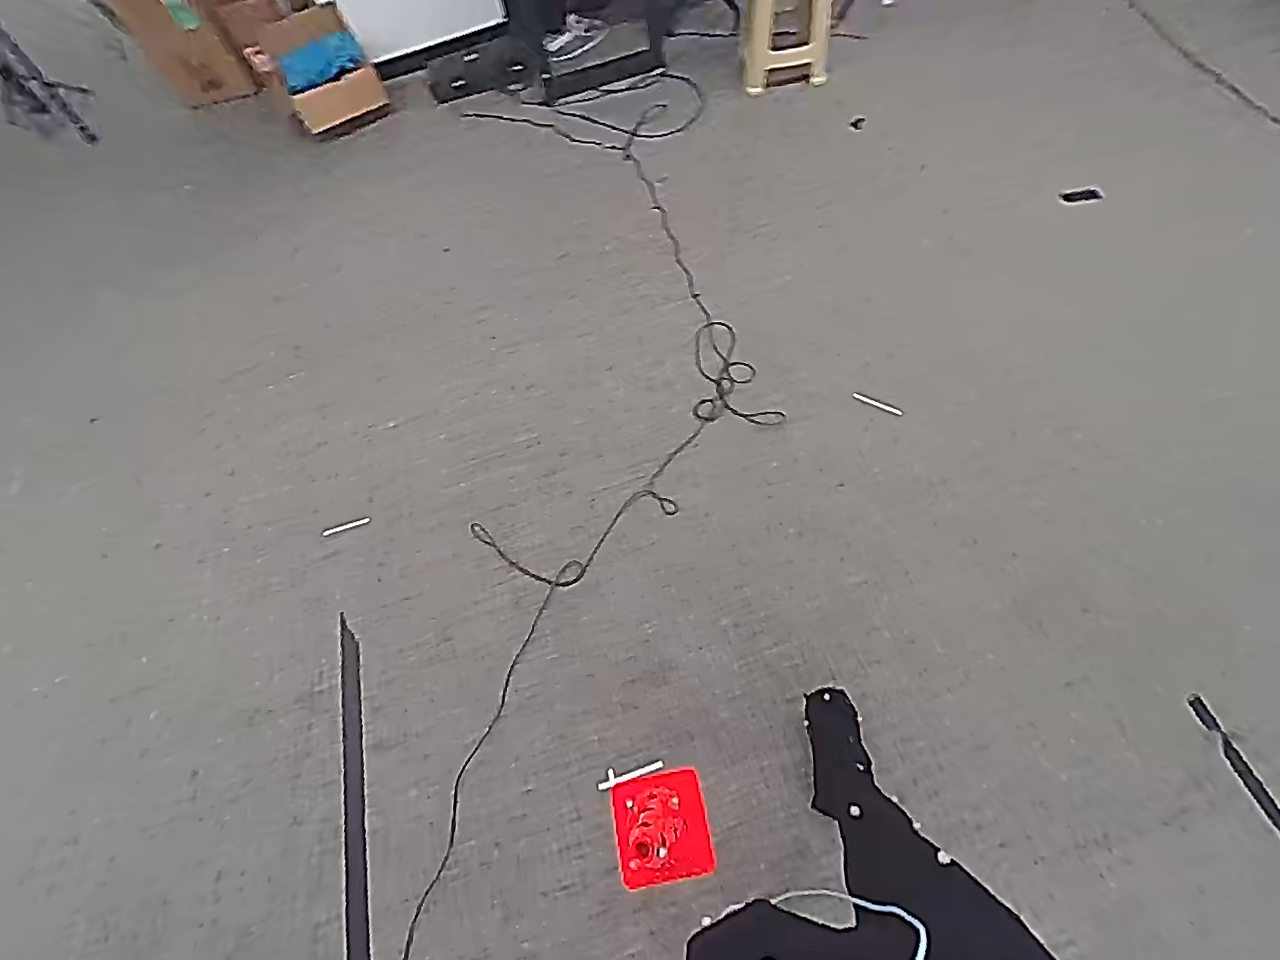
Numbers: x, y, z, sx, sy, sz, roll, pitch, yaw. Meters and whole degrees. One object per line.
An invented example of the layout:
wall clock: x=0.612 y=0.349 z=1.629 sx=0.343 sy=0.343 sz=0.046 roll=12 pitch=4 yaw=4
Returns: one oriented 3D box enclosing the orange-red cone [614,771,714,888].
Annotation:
orange-red cone: x=0.025 y=0.668 z=1.006 sx=0.198 sy=0.360 sz=0.199 roll=-12 pitch=63 yaw=3
